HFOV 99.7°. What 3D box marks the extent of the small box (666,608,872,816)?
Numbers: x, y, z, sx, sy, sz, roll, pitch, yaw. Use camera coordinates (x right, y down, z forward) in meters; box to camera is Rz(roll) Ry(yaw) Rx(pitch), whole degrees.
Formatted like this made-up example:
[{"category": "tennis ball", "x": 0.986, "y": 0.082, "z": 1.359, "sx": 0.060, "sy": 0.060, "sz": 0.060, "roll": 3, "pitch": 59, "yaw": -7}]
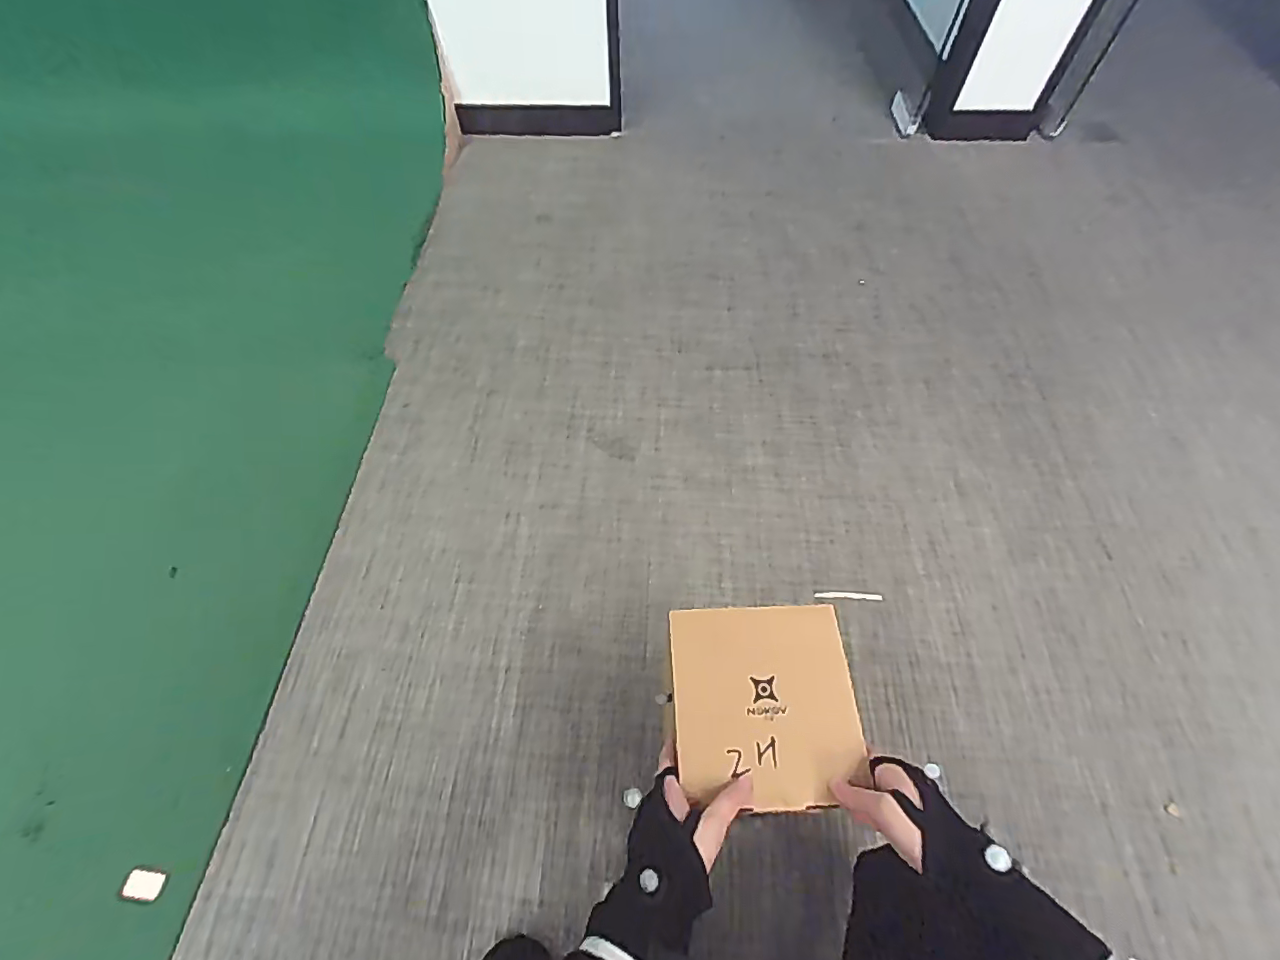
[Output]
[{"category": "small box", "x": 0.113, "y": 0.246, "z": 0.564, "sx": 0.168, "sy": 0.176, "sz": 0.179, "roll": -2, "pitch": 59, "yaw": 1}]
